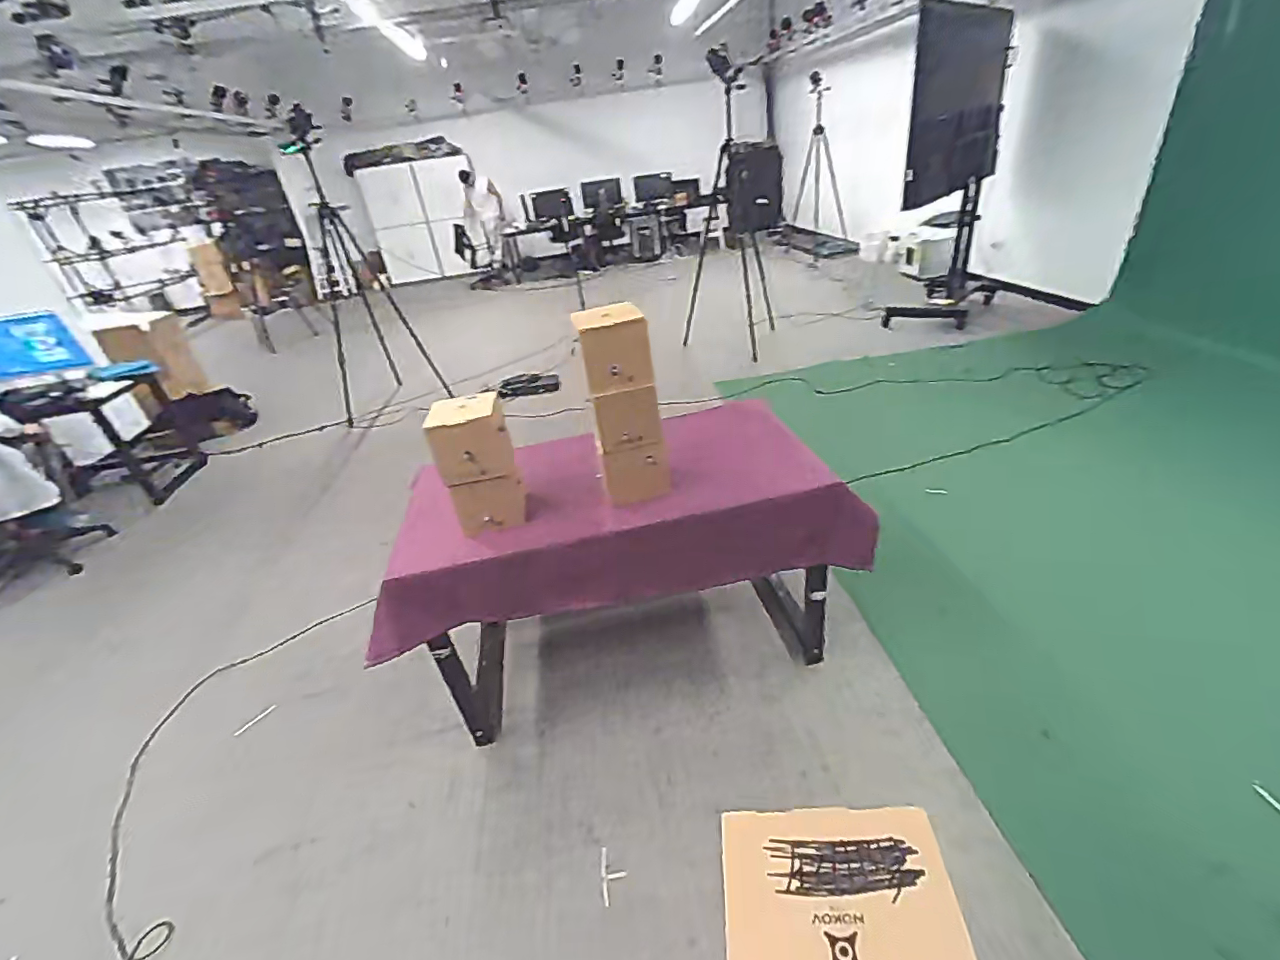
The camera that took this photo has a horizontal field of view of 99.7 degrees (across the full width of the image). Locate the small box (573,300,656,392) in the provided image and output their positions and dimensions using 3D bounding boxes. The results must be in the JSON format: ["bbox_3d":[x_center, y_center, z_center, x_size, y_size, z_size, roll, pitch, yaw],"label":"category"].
[{"bbox_3d":[-0.065,-0.338,1.360,0.168,0.176,0.179,-14,32,-7],"label":"small box"}]

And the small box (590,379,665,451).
[{"bbox_3d":[-0.038,-0.199,1.440,0.168,0.176,0.179,-13,32,-5],"label":"small box"}]

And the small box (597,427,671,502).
[{"bbox_3d":[-0.015,-0.060,1.522,0.179,0.176,0.168,-12,31,-5],"label":"small box"}]

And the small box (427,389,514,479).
[{"bbox_3d":[-0.429,-0.114,1.403,0.168,0.176,0.179,-10,32,-3],"label":"small box"}]

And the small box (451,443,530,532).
[{"bbox_3d":[-0.405,0.020,1.495,0.168,0.176,0.179,-11,32,-3],"label":"small box"}]
